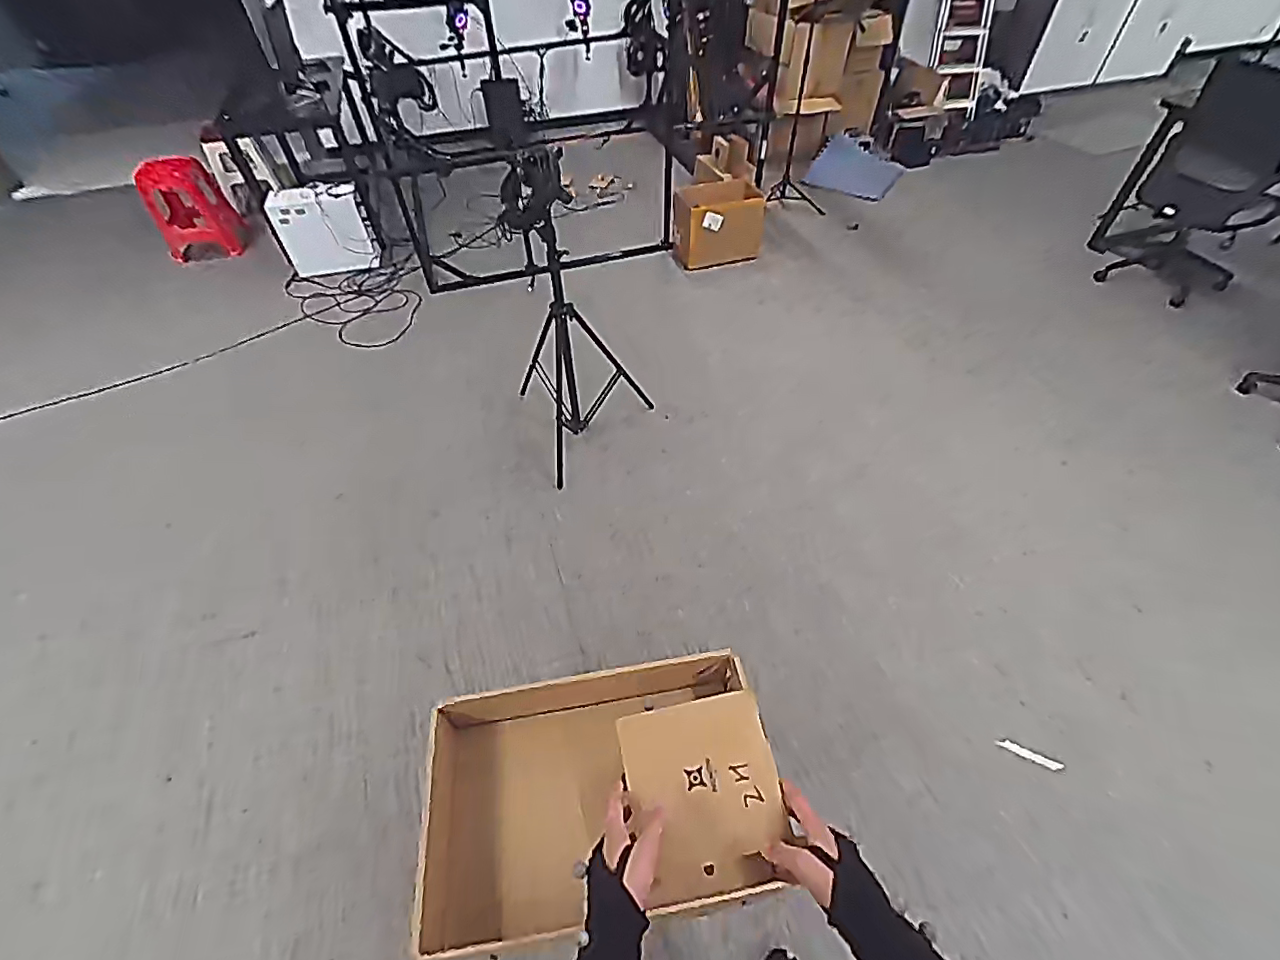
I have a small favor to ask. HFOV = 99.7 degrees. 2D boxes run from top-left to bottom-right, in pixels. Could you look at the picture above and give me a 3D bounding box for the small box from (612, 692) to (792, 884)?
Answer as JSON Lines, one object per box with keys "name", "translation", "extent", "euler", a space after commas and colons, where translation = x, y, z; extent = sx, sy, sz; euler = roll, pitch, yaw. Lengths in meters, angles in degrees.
{"name": "small box", "translation": [0.065, 0.379, 0.680], "extent": [0.179, 0.176, 0.168], "euler": [-9, 63, -7]}
